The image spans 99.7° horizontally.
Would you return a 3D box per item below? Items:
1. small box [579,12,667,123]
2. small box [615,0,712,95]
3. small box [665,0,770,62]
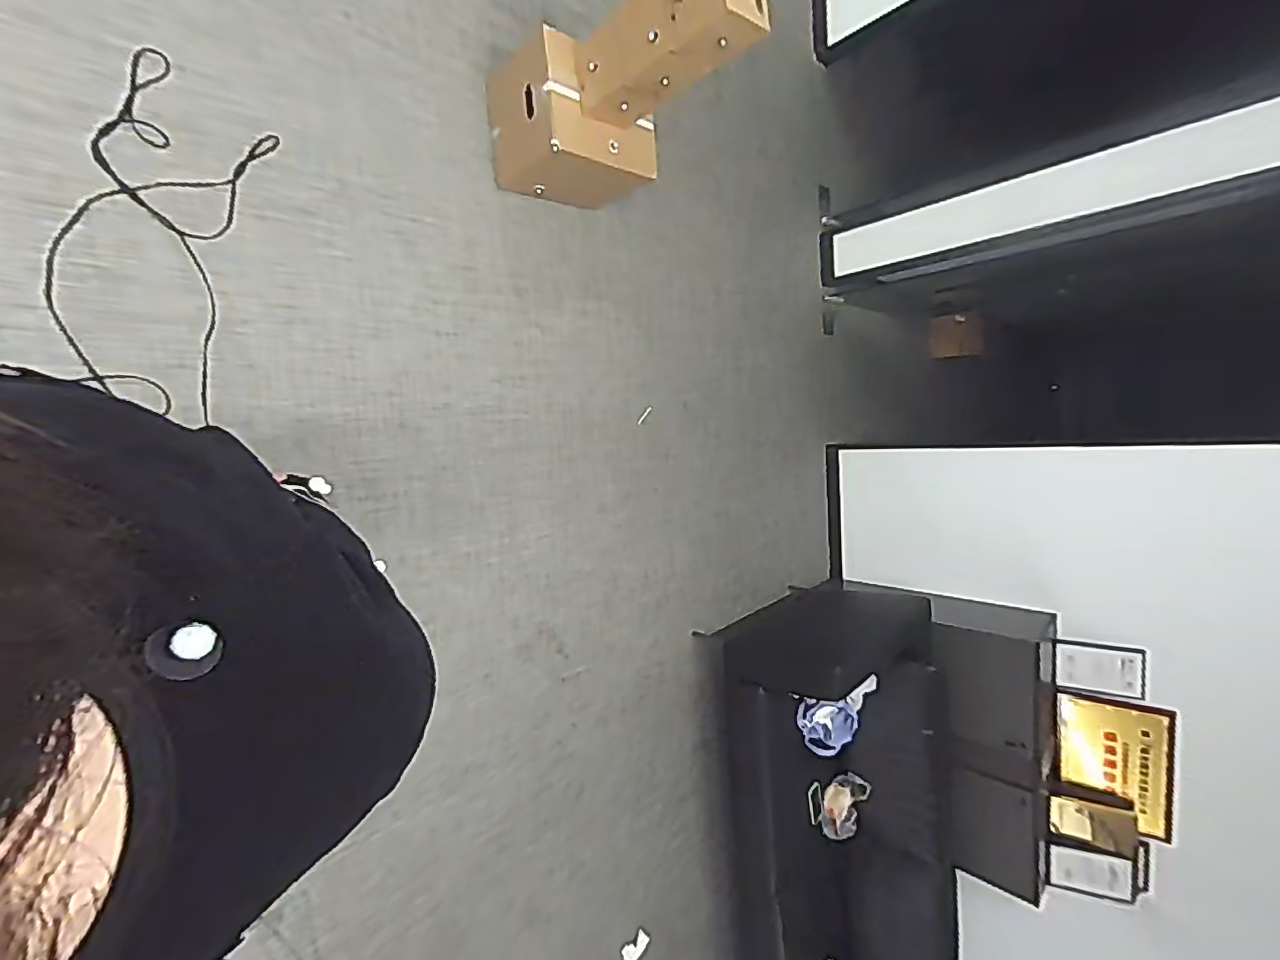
[{"bbox_3d":[-0.054,-1.123,1.489,0.179,0.176,0.168,-16,102,-42],"label":"small box"},{"bbox_3d":[0.058,-1.121,1.367,0.168,0.176,0.179,-17,102,-43],"label":"small box"},{"bbox_3d":[0.177,-1.116,1.253,0.179,0.176,0.168,-20,104,-41],"label":"small box"}]
